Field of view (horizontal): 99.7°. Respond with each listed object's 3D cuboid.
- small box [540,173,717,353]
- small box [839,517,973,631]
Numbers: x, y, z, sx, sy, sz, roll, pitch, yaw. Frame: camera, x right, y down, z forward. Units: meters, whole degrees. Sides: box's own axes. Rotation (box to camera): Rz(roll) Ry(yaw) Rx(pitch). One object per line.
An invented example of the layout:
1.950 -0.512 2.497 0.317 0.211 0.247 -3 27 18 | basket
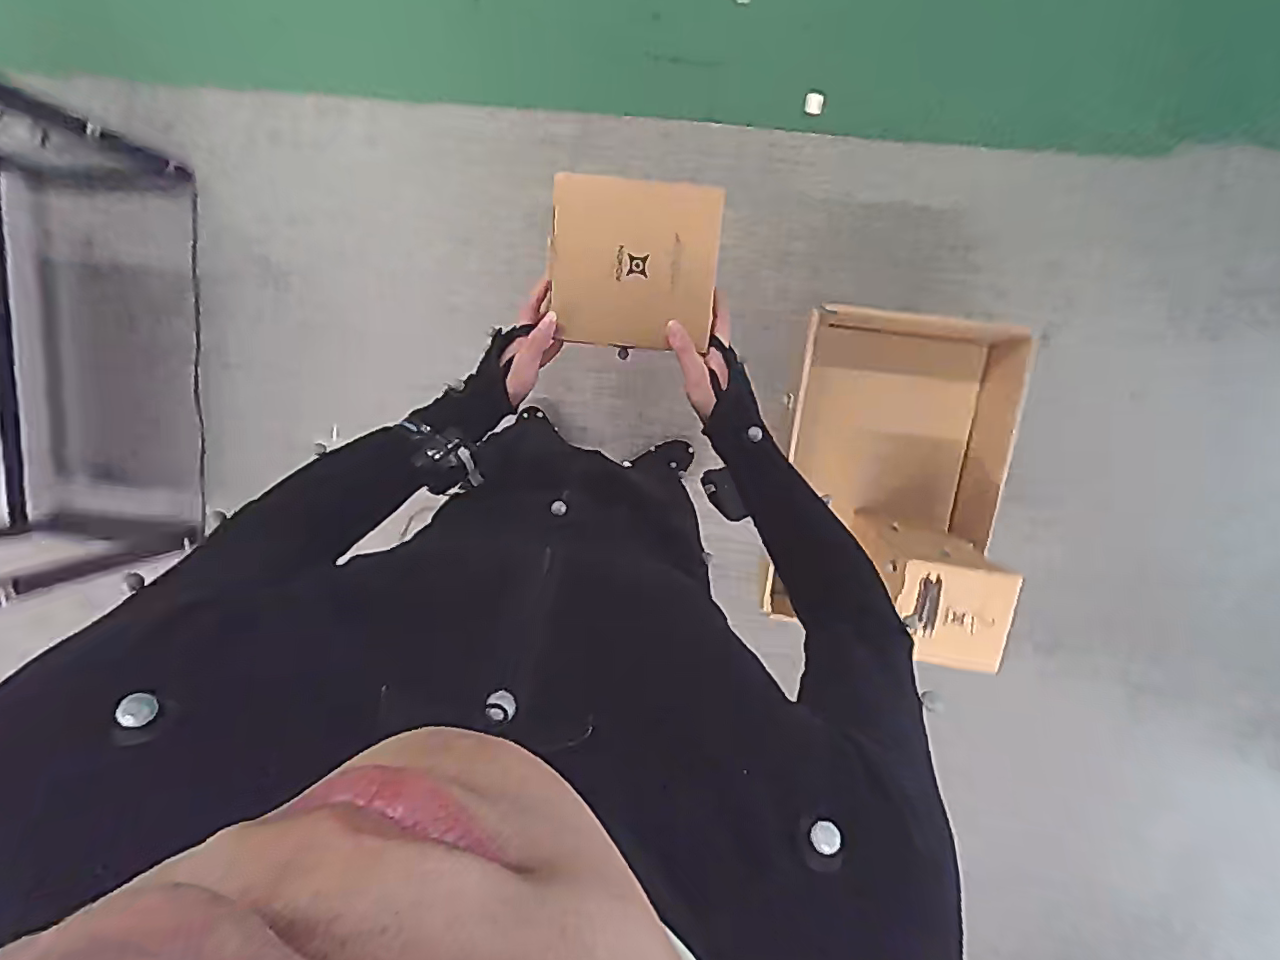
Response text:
-0.015 -0.241 0.638 0.179 0.176 0.168 3 103 -2 | small box
0.526 0.181 1.094 0.179 0.176 0.168 10 100 5 | small box
